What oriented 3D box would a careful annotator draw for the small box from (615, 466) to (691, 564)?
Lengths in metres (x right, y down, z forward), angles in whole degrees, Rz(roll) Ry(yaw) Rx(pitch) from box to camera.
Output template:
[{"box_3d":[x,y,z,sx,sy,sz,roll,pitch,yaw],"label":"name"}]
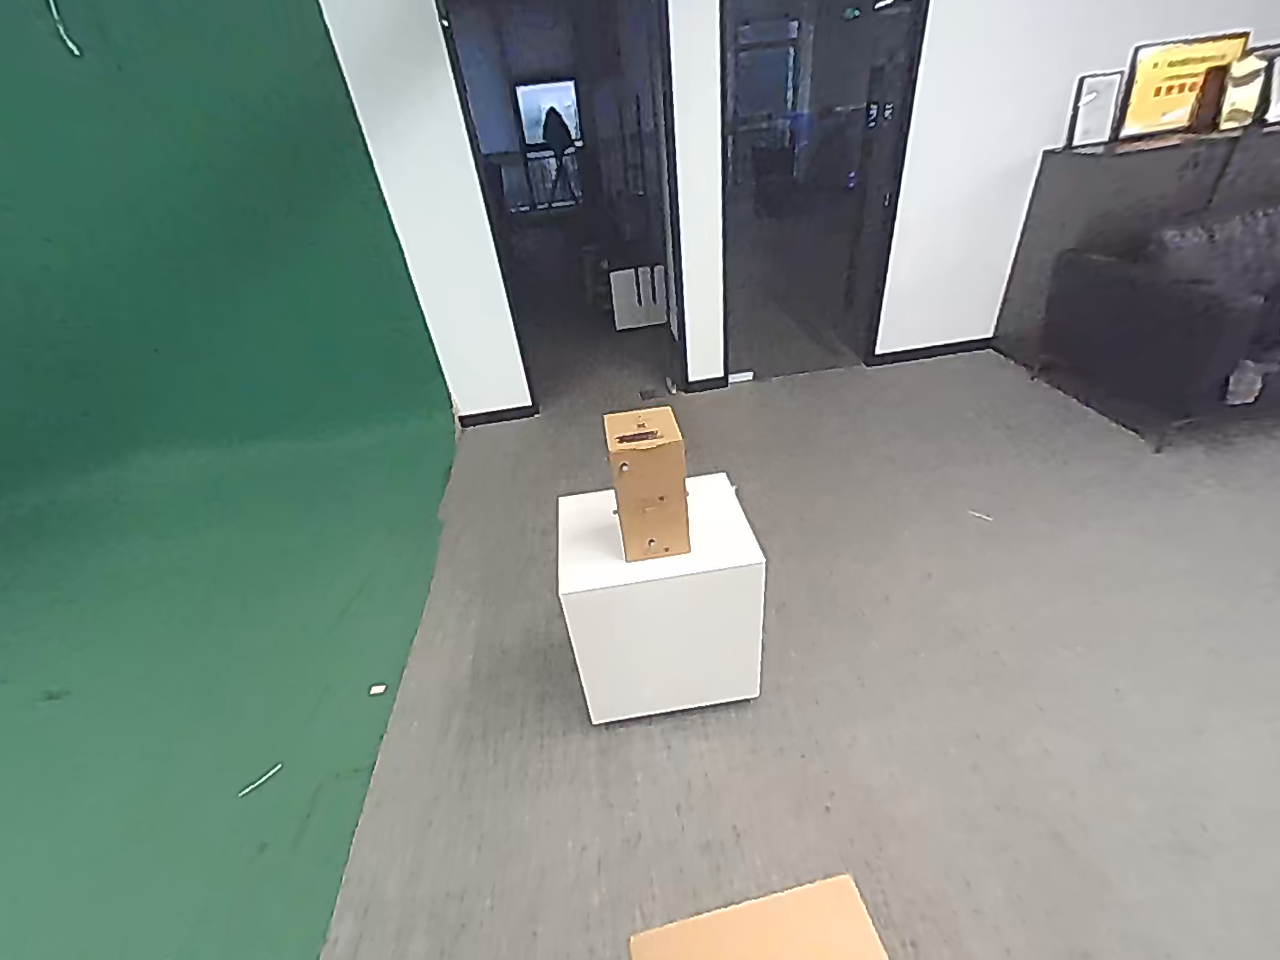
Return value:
[{"box_3d":[0.032,0.088,1.371,0.168,0.176,0.179,-9,33,-3],"label":"small box"}]
